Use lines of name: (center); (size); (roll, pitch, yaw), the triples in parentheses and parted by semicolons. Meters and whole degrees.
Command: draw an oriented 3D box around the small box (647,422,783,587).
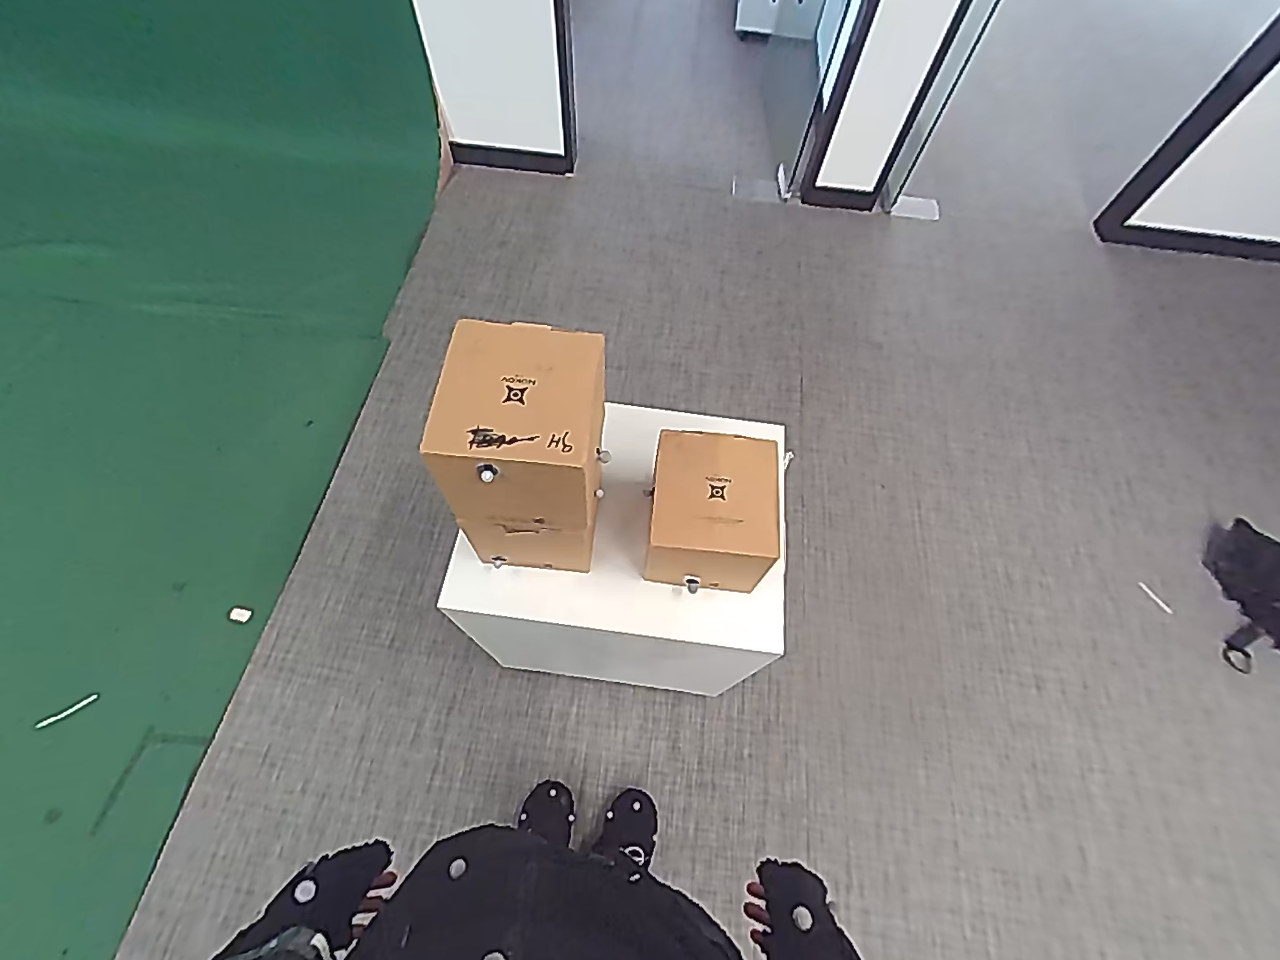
small box: (0.099, 0.040, 0.772); (0.168, 0.176, 0.179); (4, 65, 1)

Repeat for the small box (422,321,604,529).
small box: (-0.134, -0.060, 0.643); (0.168, 0.176, 0.179); (5, 62, 0)

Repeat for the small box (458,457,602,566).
small box: (-0.146, 0.015, 0.787); (0.168, 0.176, 0.179); (5, 62, -1)
